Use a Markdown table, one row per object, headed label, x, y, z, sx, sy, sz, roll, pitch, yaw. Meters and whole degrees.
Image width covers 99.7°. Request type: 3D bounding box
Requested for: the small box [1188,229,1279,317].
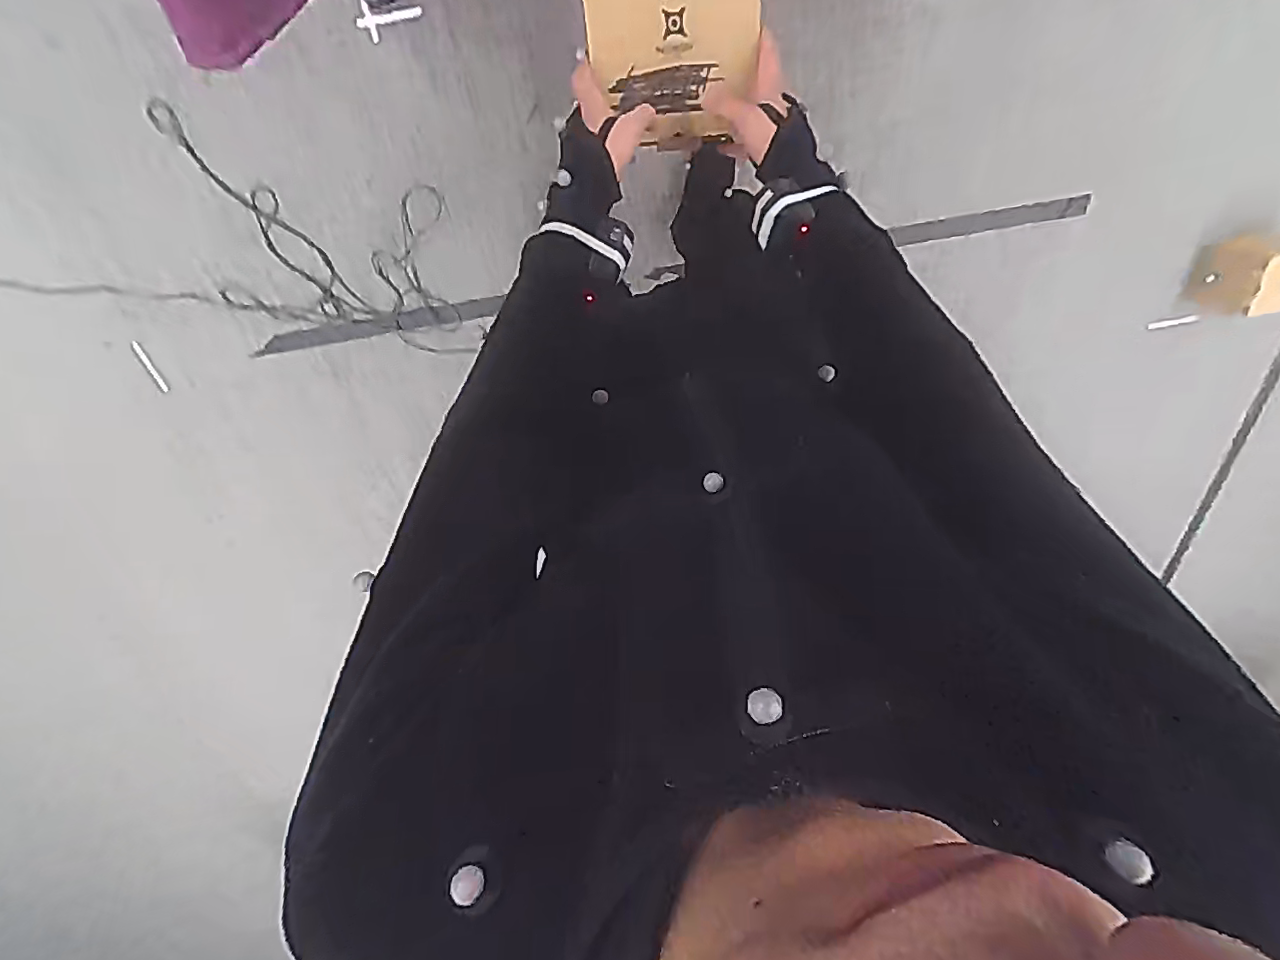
| label | x | y | z | sx | sy | sz | roll | pitch | yaw |
| --- | --- | --- | --- | --- | --- | --- | --- | --- | --- |
| small box | 1.678 | -0.568 | 1.470 | 0.179 | 0.176 | 0.168 | -13 | 124 | 4 |
